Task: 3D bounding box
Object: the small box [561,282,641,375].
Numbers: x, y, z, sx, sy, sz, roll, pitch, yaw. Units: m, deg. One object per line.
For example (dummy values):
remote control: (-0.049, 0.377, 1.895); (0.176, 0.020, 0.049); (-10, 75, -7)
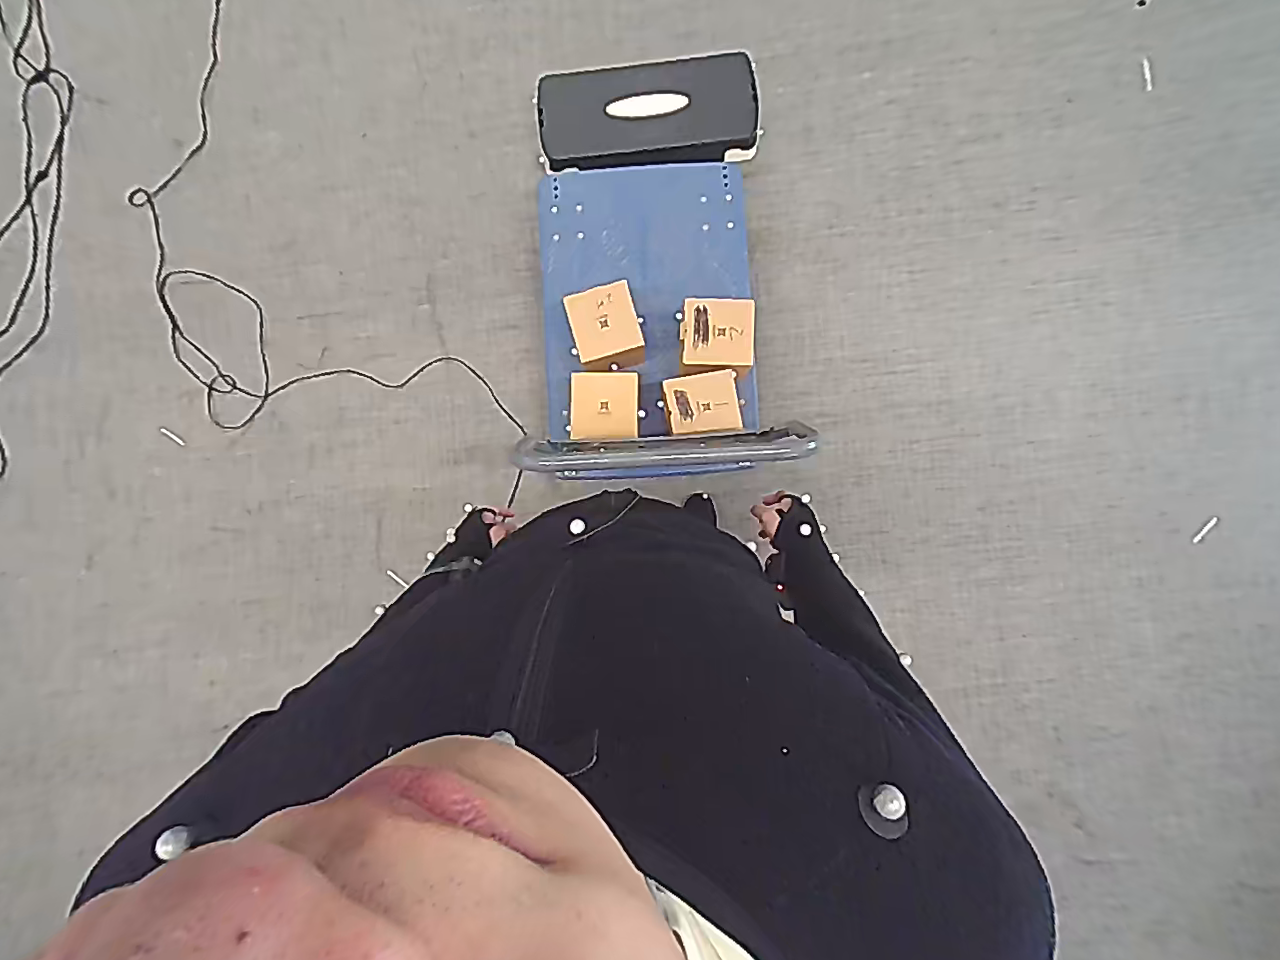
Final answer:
small box: (-0.095, -0.383, 1.411); (0.168, 0.176, 0.179); (-16, 87, -1)
